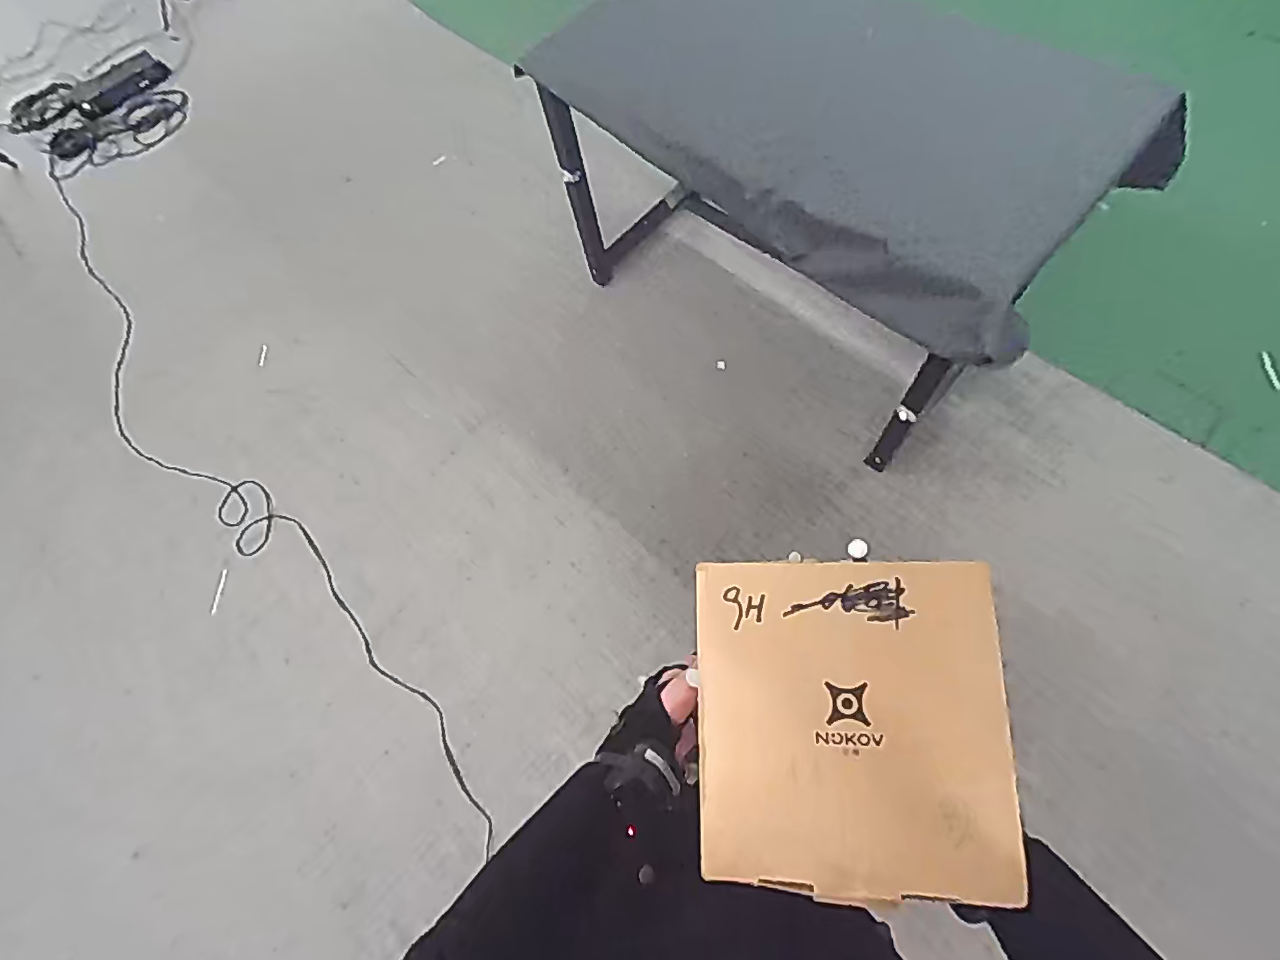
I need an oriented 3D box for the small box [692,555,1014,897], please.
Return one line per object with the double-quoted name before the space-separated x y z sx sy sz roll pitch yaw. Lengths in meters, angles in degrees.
"small box" 0.127 0.143 0.381 0.168 0.176 0.179 -2 81 10
